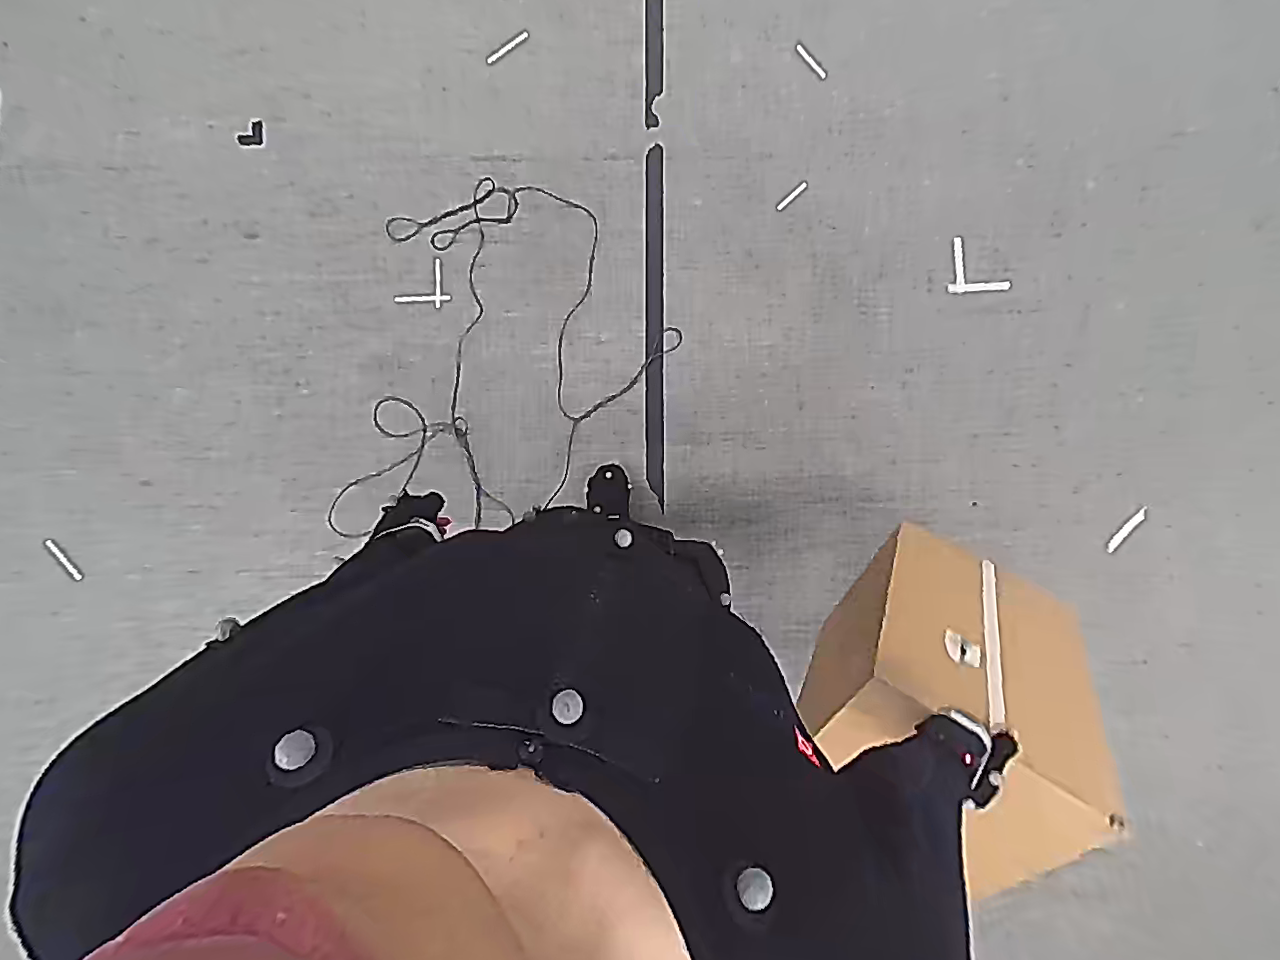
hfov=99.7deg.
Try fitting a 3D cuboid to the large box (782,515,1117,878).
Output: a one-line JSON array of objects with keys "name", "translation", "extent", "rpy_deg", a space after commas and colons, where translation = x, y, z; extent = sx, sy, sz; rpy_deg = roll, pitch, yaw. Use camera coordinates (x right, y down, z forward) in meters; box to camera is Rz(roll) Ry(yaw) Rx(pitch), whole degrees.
[{"name": "large box", "translation": [0.481, 0.337, 0.912], "extent": [0.320, 0.408, 0.320], "rpy_deg": [28, 129, 13]}]
